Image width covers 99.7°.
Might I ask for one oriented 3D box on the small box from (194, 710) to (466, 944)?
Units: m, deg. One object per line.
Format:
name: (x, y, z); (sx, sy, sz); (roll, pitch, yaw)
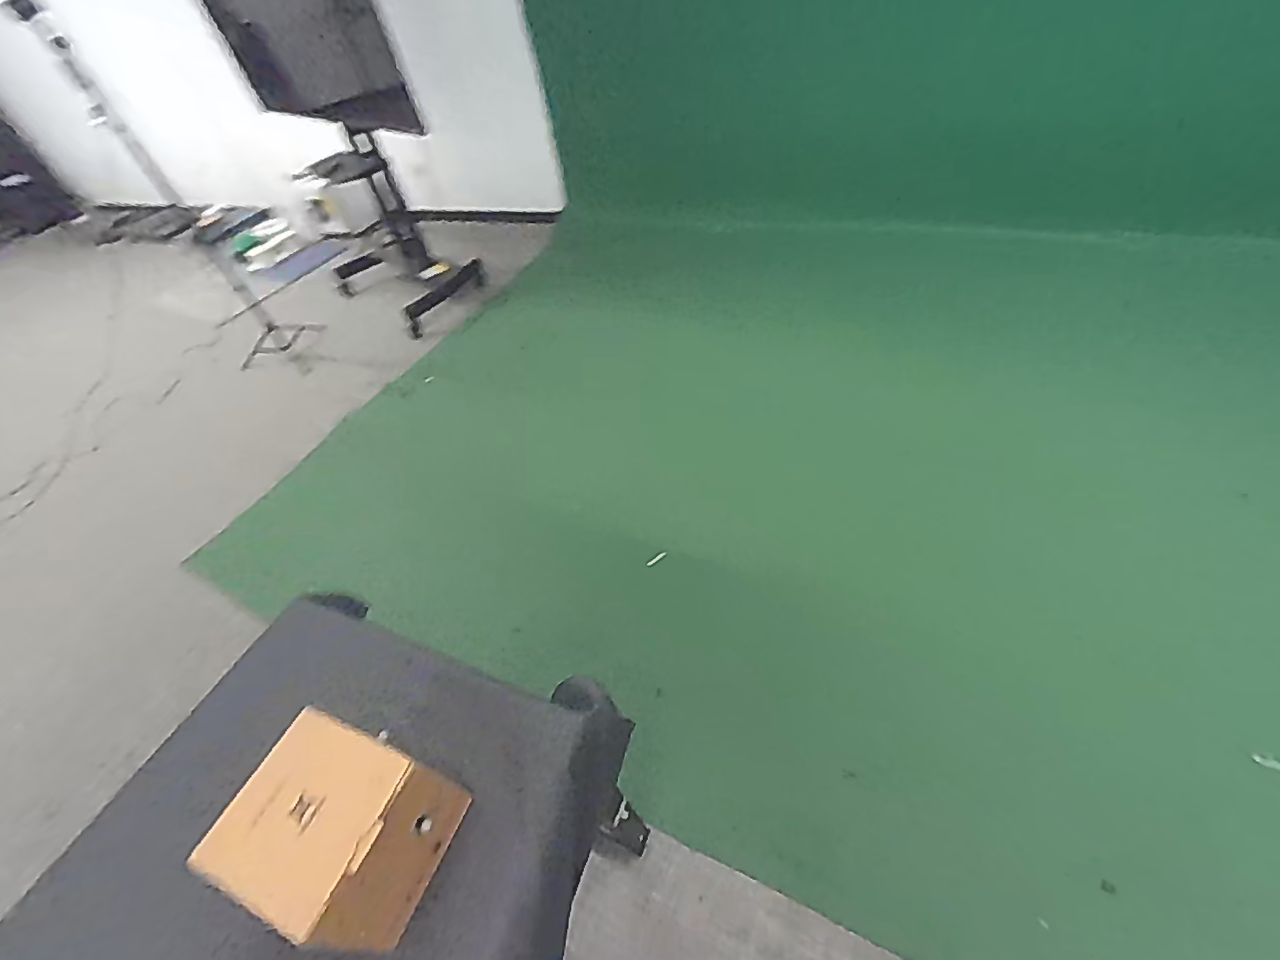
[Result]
small box: (-0.338, 0.401, 0.627); (0.179, 0.176, 0.168); (10, 50, 22)
